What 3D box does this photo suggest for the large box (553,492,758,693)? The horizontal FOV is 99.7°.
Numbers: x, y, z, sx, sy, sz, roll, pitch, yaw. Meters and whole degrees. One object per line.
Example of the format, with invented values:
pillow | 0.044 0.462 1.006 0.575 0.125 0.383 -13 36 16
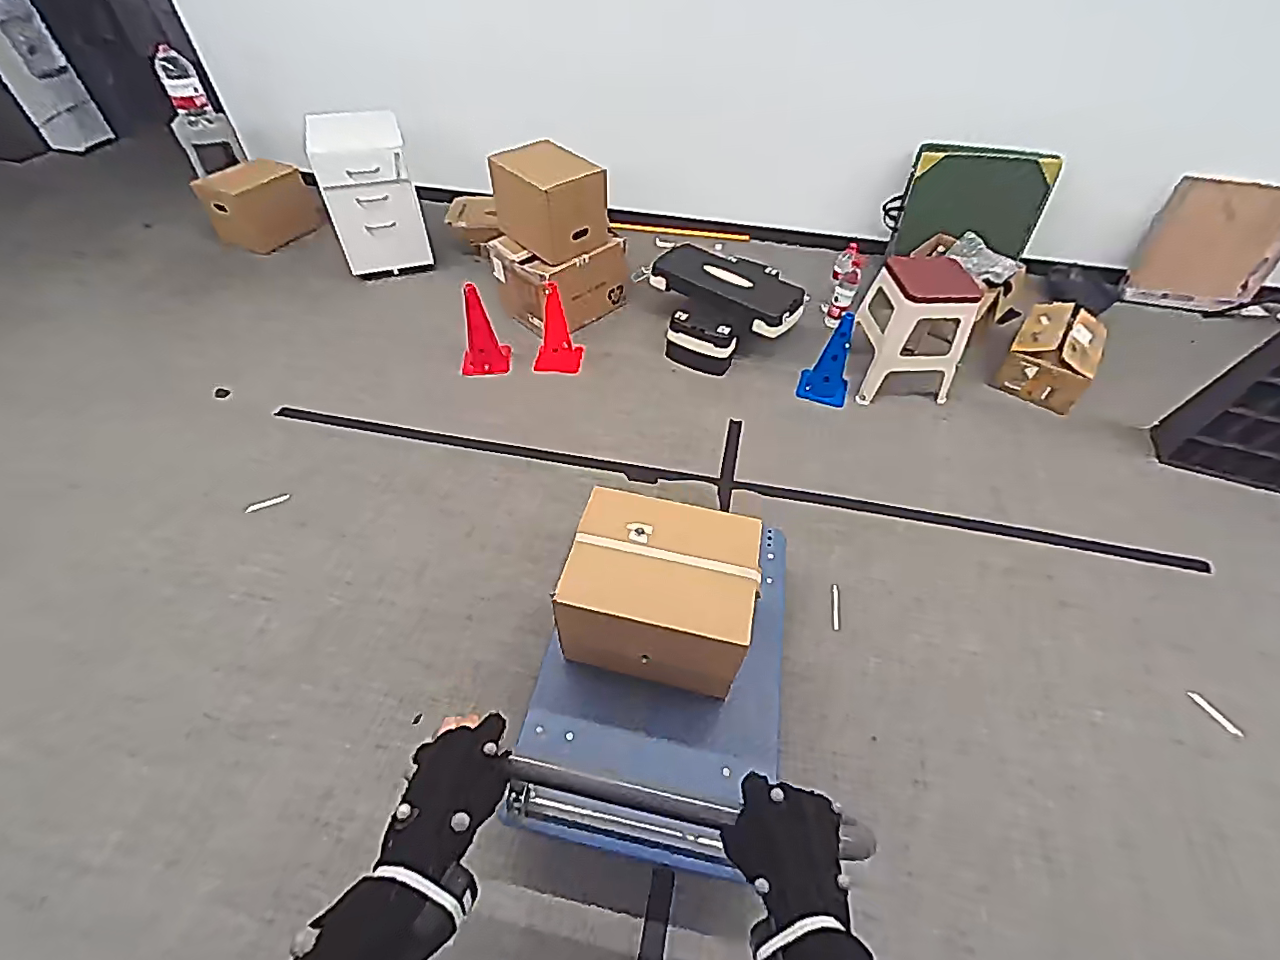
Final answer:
large box | 0.046 0.272 1.293 0.408 0.320 0.320 11 51 8
